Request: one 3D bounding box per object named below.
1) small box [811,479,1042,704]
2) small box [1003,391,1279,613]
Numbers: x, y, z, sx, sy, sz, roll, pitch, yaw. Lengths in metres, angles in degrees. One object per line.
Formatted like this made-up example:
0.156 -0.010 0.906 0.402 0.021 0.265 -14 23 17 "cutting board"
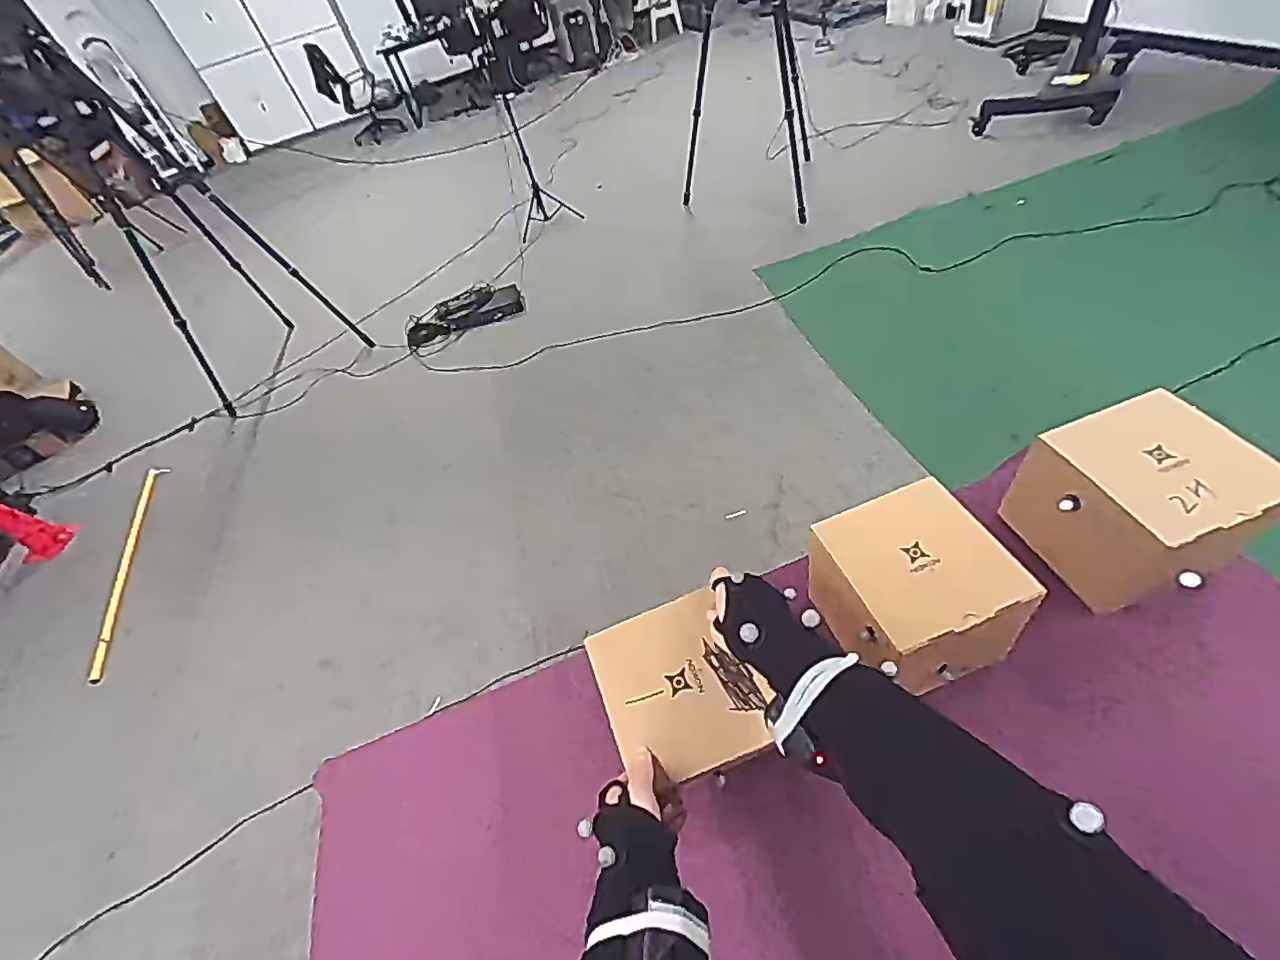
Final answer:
0.320 0.136 0.653 0.168 0.176 0.179 -22 48 -2 "small box"
0.589 0.030 0.655 0.168 0.176 0.179 -21 50 -1 "small box"
